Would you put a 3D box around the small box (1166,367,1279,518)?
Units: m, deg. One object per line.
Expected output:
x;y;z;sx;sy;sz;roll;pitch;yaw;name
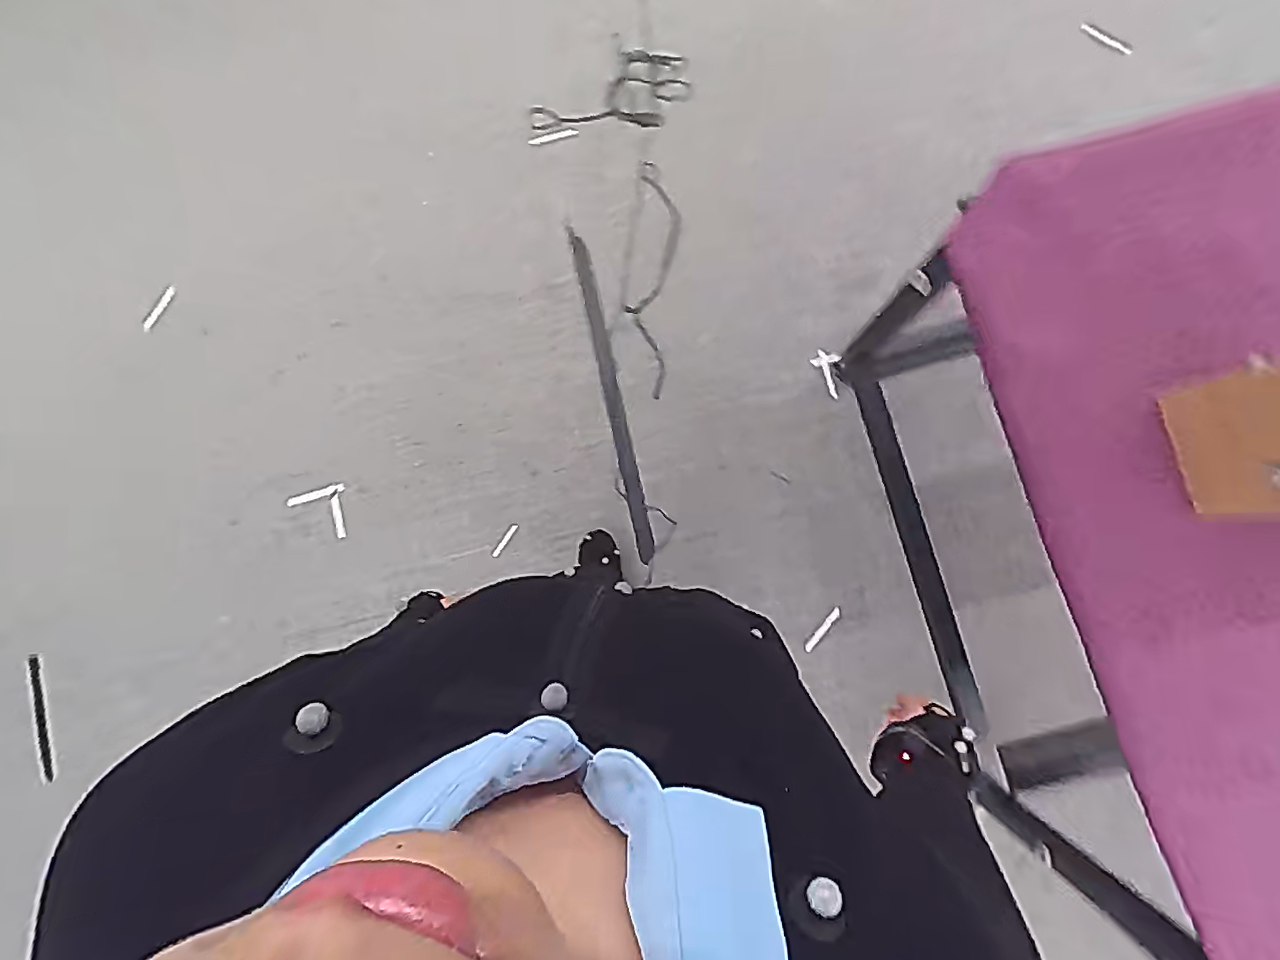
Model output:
0.806;-0.052;0.649;0.168;0.176;0.179;-13;84;2;small box
